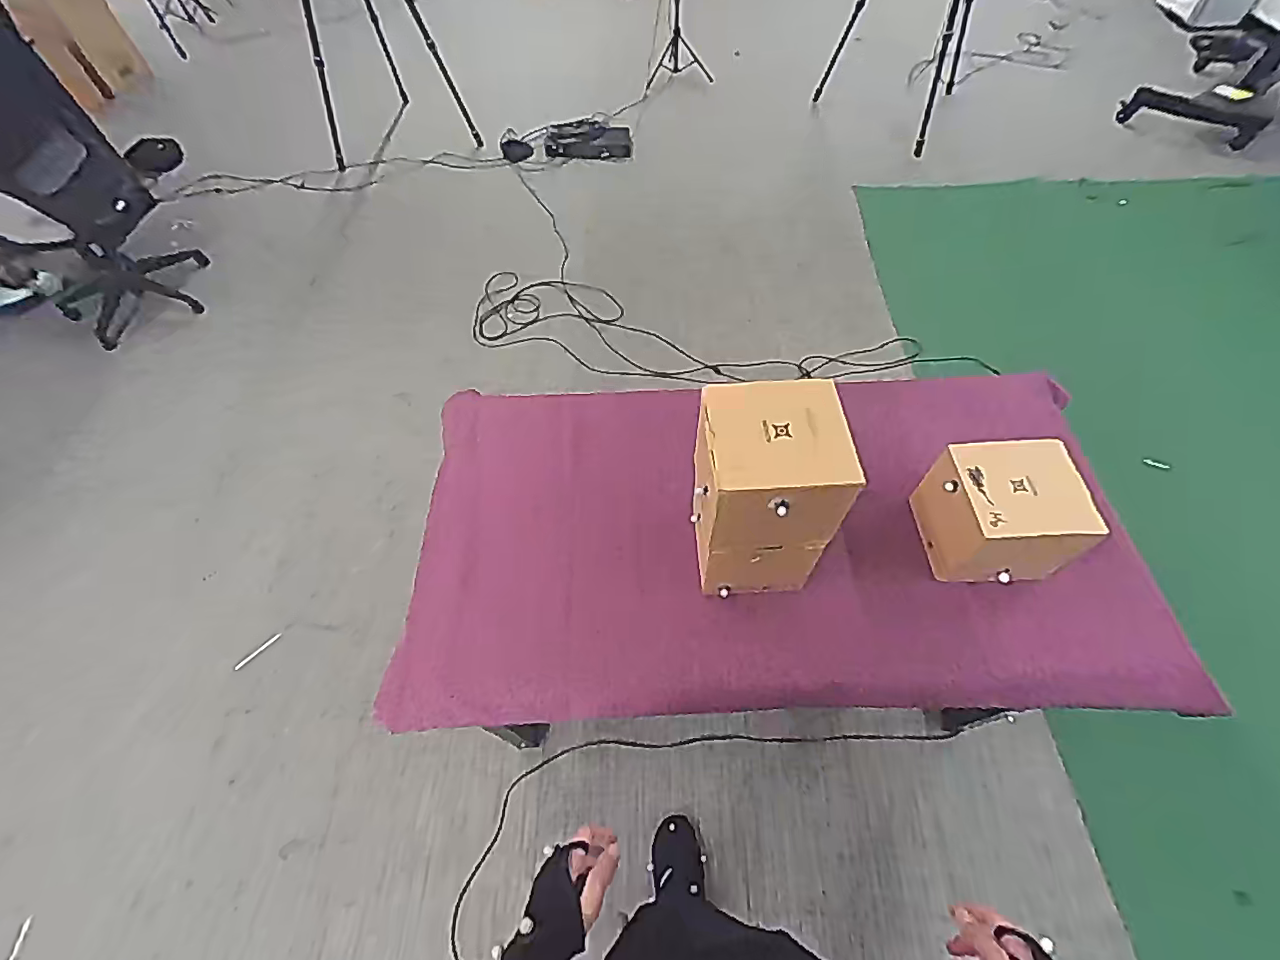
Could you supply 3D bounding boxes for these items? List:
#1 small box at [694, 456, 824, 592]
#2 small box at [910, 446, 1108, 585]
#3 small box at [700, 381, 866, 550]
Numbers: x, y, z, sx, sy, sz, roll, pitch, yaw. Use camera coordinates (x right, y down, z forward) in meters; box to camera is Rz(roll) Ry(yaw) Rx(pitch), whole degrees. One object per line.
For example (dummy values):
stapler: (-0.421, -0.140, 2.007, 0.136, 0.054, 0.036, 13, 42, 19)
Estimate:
small box: (0.179, 0.073, 0.868, 0.168, 0.176, 0.179, -2, 56, 0)
small box: (0.569, 0.061, 0.863, 0.179, 0.176, 0.168, -1, 56, 1)
small box: (0.174, -0.013, 0.730, 0.179, 0.176, 0.168, -2, 58, 0)
